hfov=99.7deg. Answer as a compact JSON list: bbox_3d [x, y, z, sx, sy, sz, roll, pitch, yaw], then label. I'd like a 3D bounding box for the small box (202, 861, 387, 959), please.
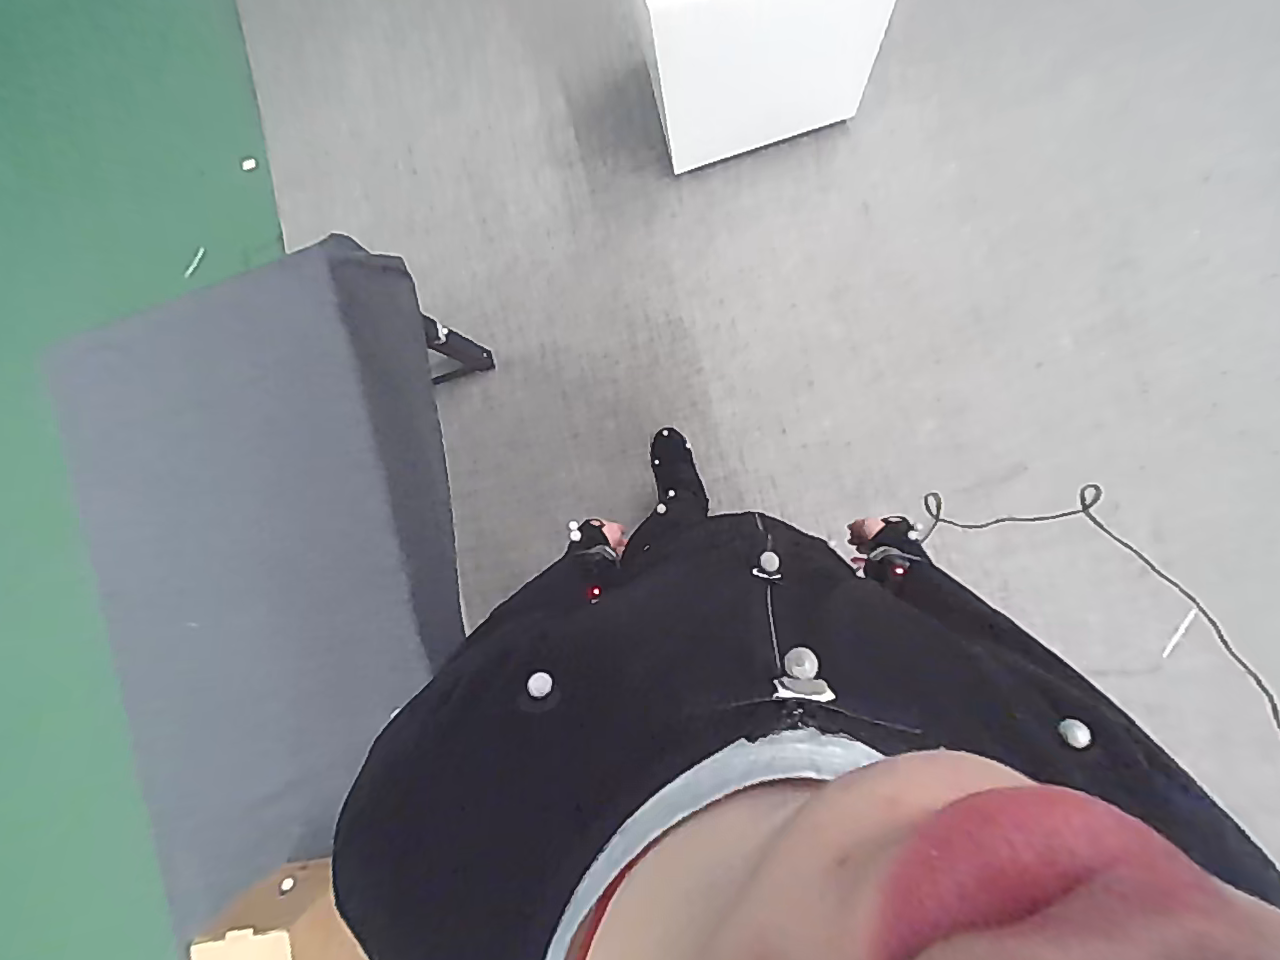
[{"bbox_3d":[-0.533,0.738,0.854,0.168,0.176,0.179,-13,86,10],"label":"small box"}]
